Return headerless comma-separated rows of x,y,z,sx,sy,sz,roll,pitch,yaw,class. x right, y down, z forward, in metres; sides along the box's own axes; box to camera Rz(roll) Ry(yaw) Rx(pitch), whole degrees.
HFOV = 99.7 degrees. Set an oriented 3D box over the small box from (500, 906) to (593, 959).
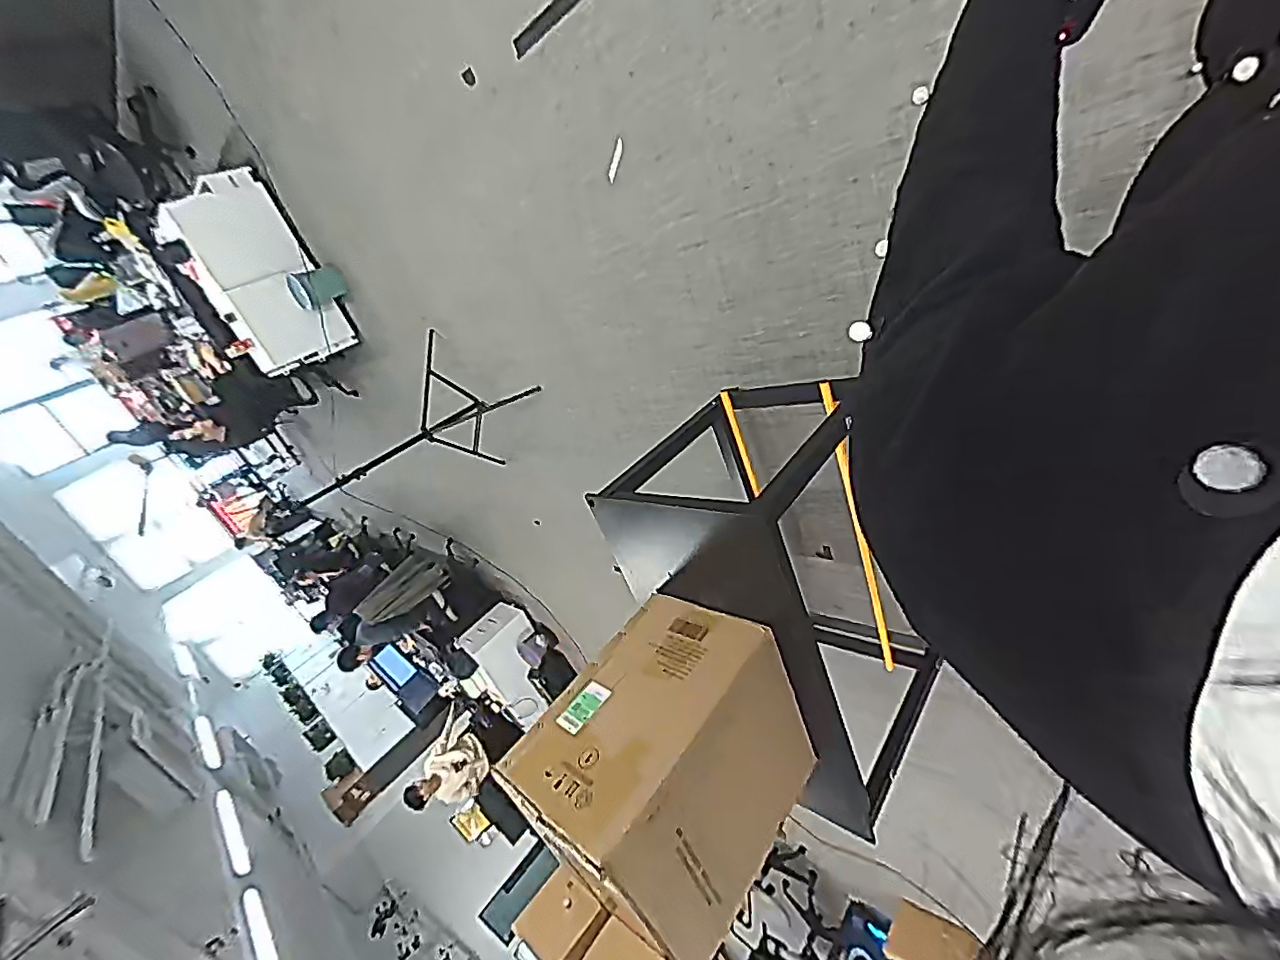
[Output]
-0.197,1.128,1.220,0.168,0.176,0.179,7,127,46,small box
